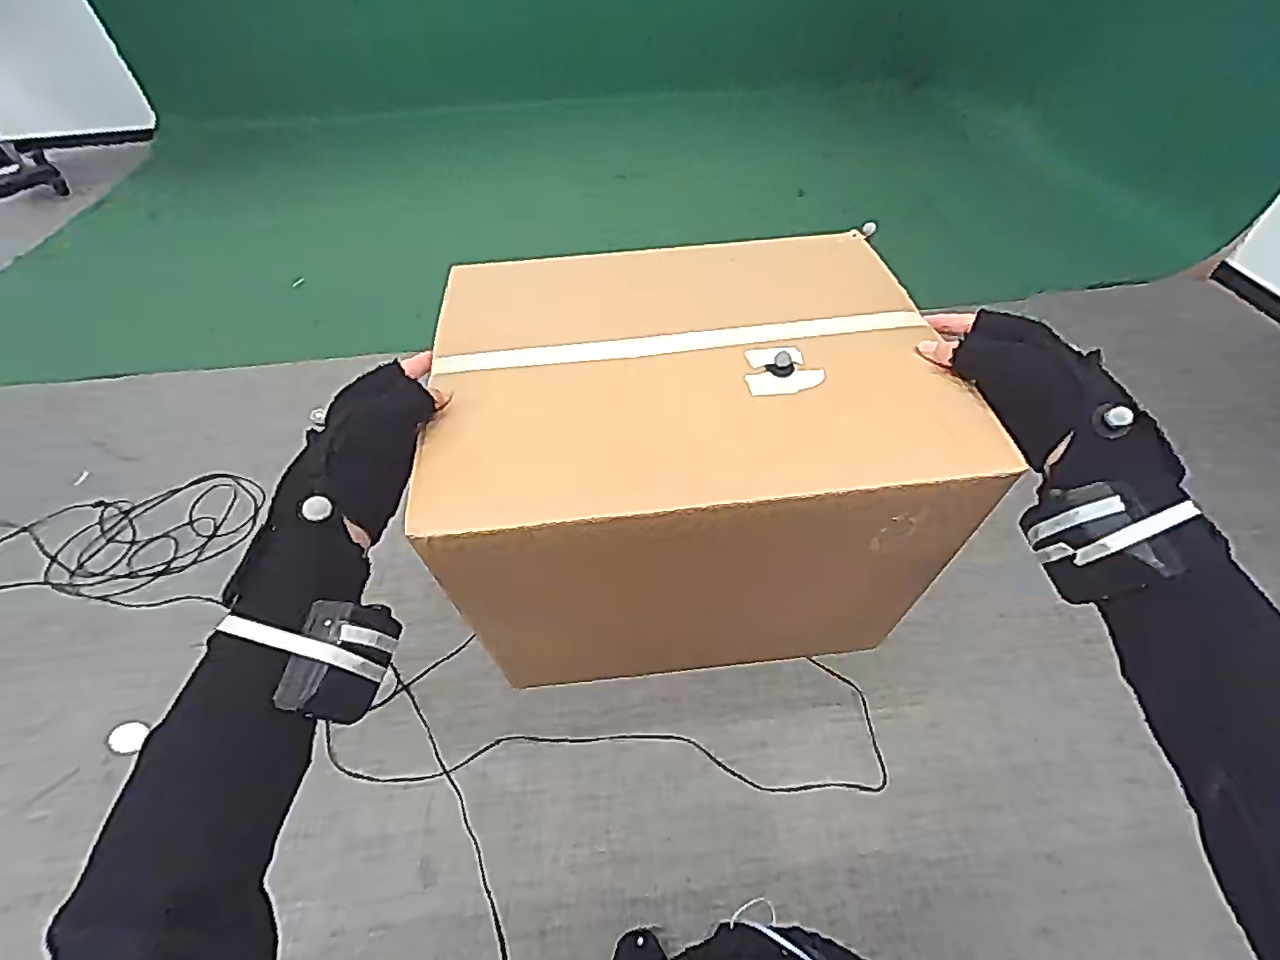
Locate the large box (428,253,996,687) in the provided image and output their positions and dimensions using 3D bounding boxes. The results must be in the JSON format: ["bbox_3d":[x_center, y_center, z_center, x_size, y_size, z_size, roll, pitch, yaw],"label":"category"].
[{"bbox_3d":[0.039,-0.005,0.572,0.408,0.320,0.320,-6,52,-3],"label":"large box"}]
